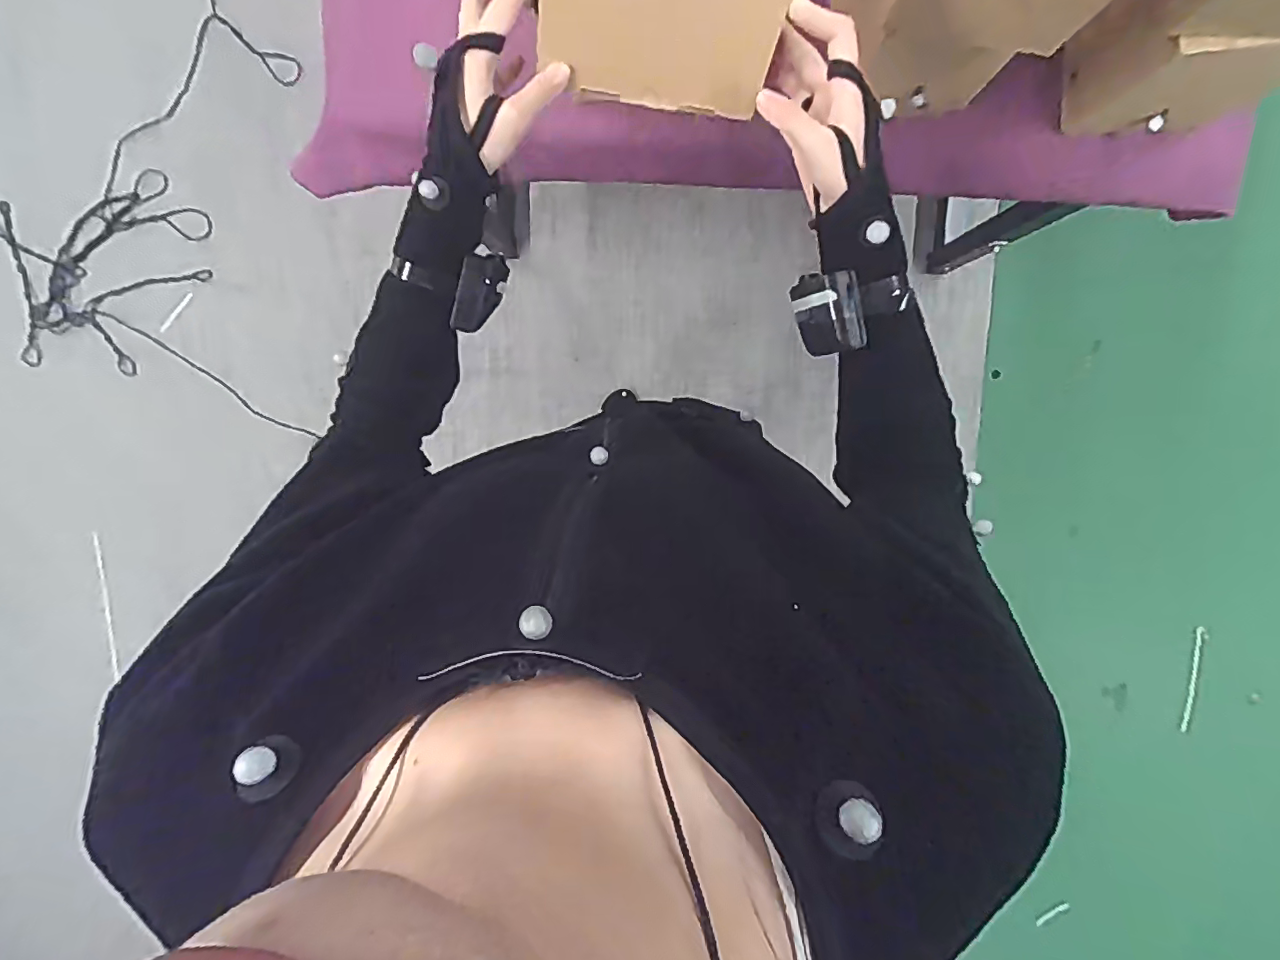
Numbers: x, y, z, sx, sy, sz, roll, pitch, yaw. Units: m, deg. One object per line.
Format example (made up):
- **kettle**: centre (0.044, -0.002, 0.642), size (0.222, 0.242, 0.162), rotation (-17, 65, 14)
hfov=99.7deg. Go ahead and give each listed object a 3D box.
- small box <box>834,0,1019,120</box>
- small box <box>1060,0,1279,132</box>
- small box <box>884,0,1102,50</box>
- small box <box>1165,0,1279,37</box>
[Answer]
- **small box**: centre (0.327, -0.550, 0.612), size (0.168, 0.176, 0.179), rotation (-4, 97, 4)
- **small box**: centre (0.623, -0.518, 0.603), size (0.179, 0.176, 0.168), rotation (-2, 97, 3)
- **small box**: centre (0.337, -0.506, 0.451), size (0.179, 0.176, 0.168), rotation (10, 96, 2)
- **small box**: centre (0.604, -0.504, 0.440), size (0.179, 0.176, 0.168), rotation (4, 97, 3)
